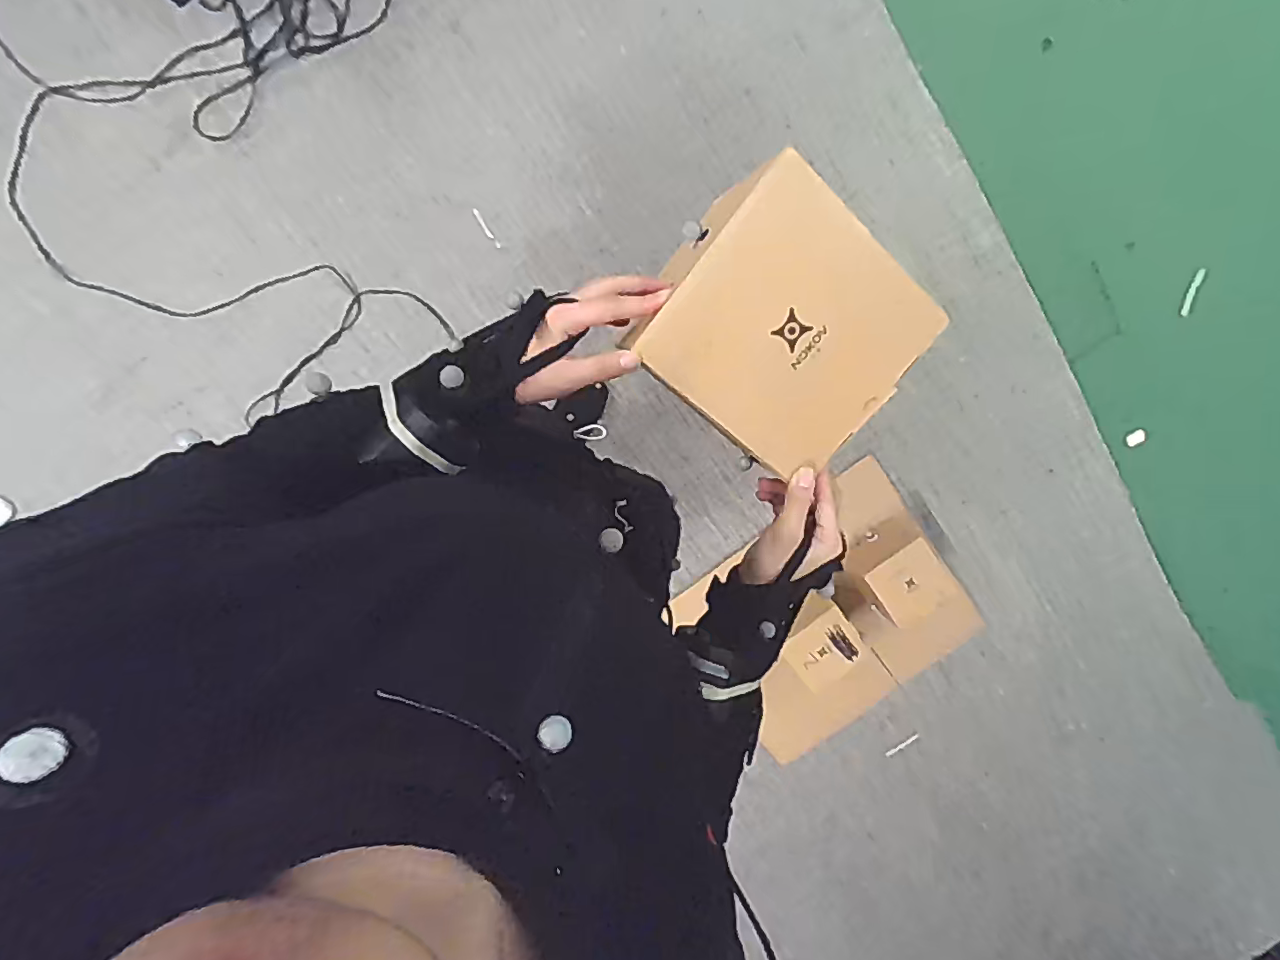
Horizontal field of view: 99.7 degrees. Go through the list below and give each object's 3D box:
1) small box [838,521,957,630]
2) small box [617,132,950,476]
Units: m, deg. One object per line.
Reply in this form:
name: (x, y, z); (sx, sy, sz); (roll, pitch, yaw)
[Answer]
small box: (0.631, 0.229, 1.342); (0.168, 0.176, 0.179); (-37, 100, 4)
small box: (0.097, -0.134, 0.451); (0.179, 0.176, 0.168); (35, 99, -17)
